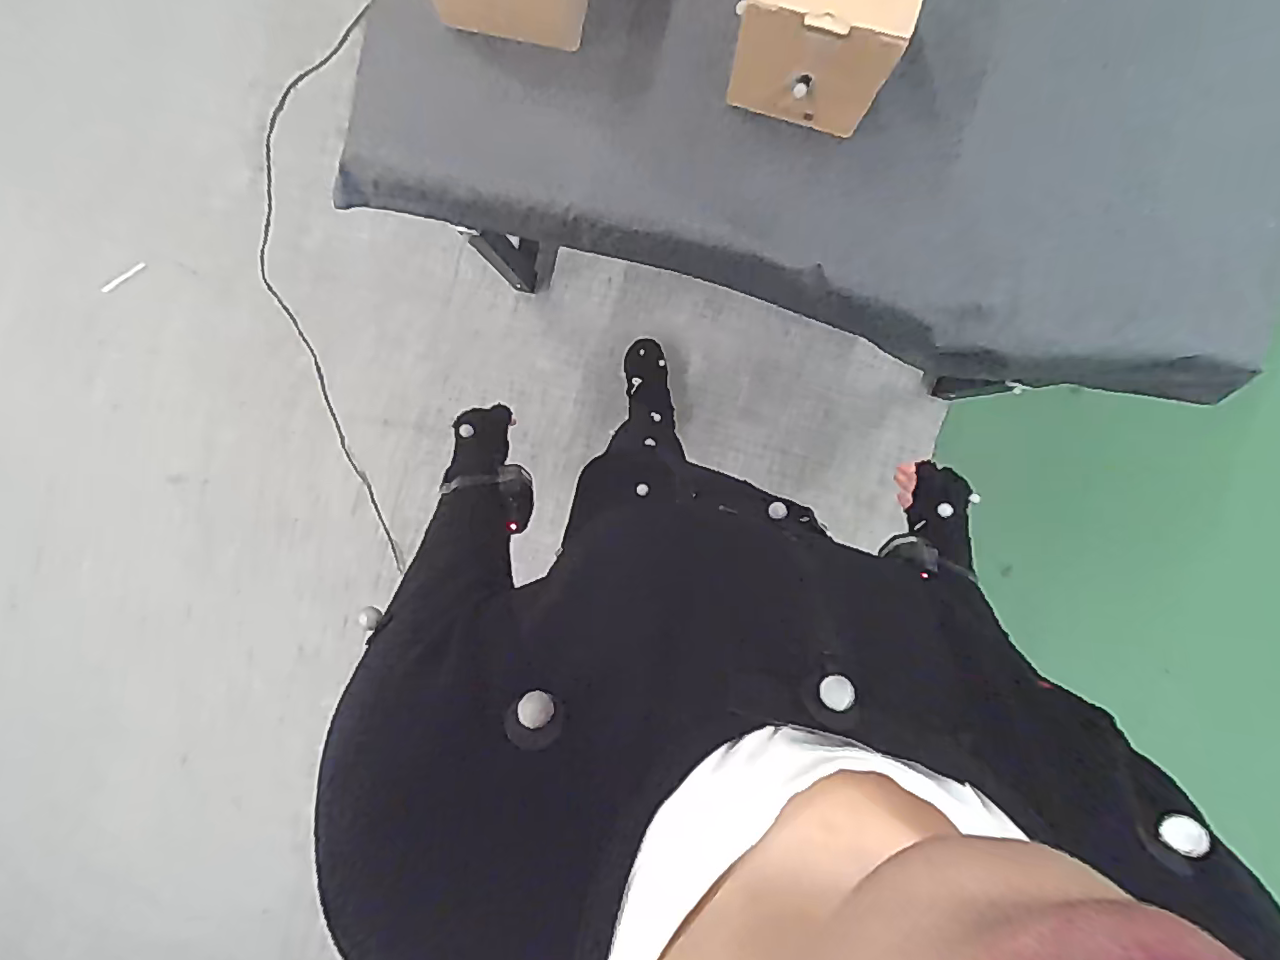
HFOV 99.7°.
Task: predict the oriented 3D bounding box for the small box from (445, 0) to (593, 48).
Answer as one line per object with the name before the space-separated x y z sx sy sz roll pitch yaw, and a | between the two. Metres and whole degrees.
small box | -0.144 -0.637 0.608 0.179 0.176 0.168 12 95 0

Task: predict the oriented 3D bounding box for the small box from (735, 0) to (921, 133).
small box | 0.211 -0.531 0.602 0.168 0.176 0.179 17 95 1
